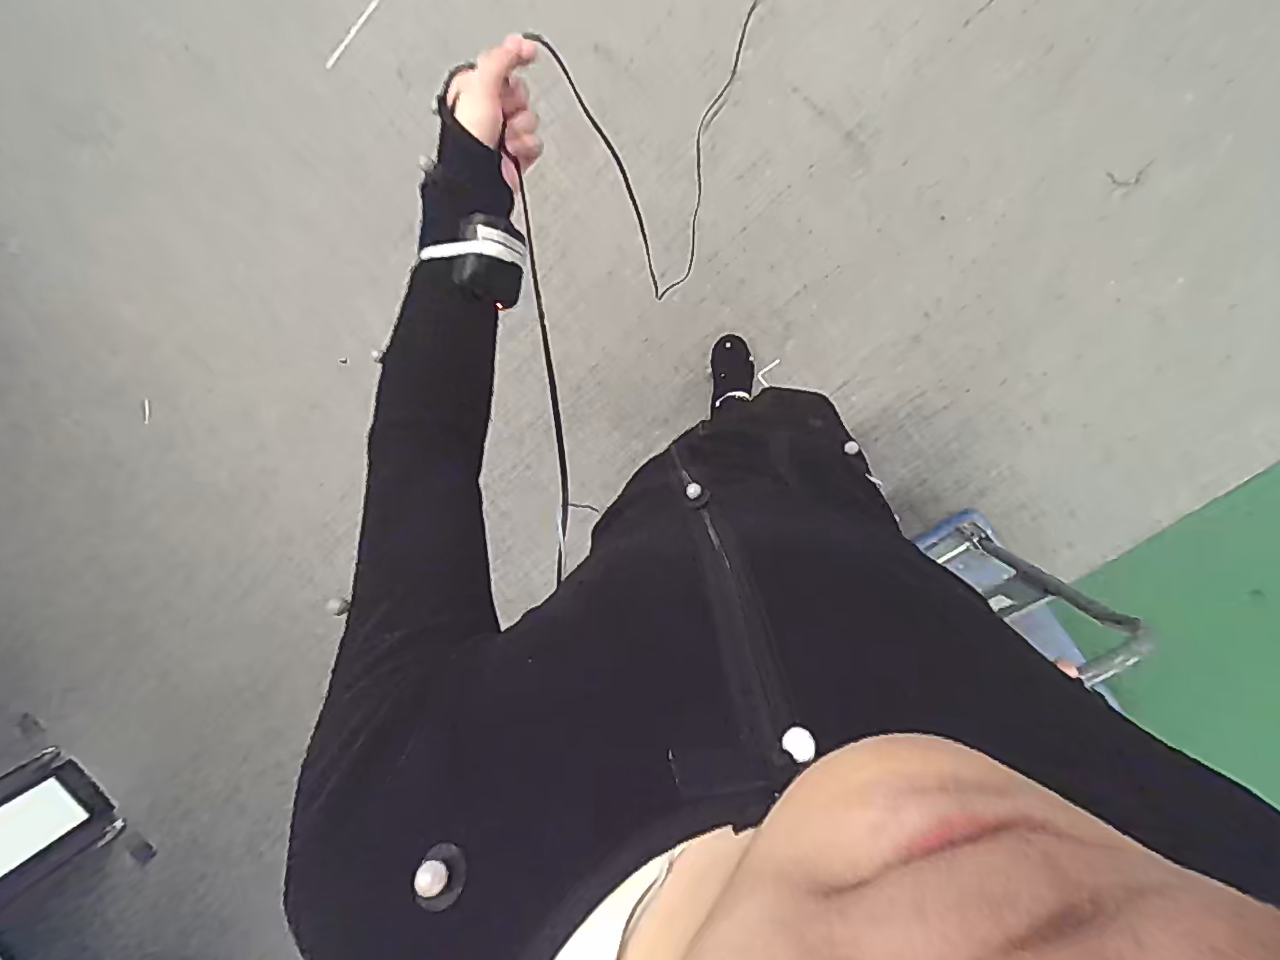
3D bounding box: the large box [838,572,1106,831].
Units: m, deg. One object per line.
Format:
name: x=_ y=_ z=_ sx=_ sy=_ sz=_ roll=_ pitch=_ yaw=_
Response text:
large box: x=0.740 y=0.497 z=1.278 sx=0.320 sy=0.320 sz=0.408 roll=-36 pitch=93 yaw=13
